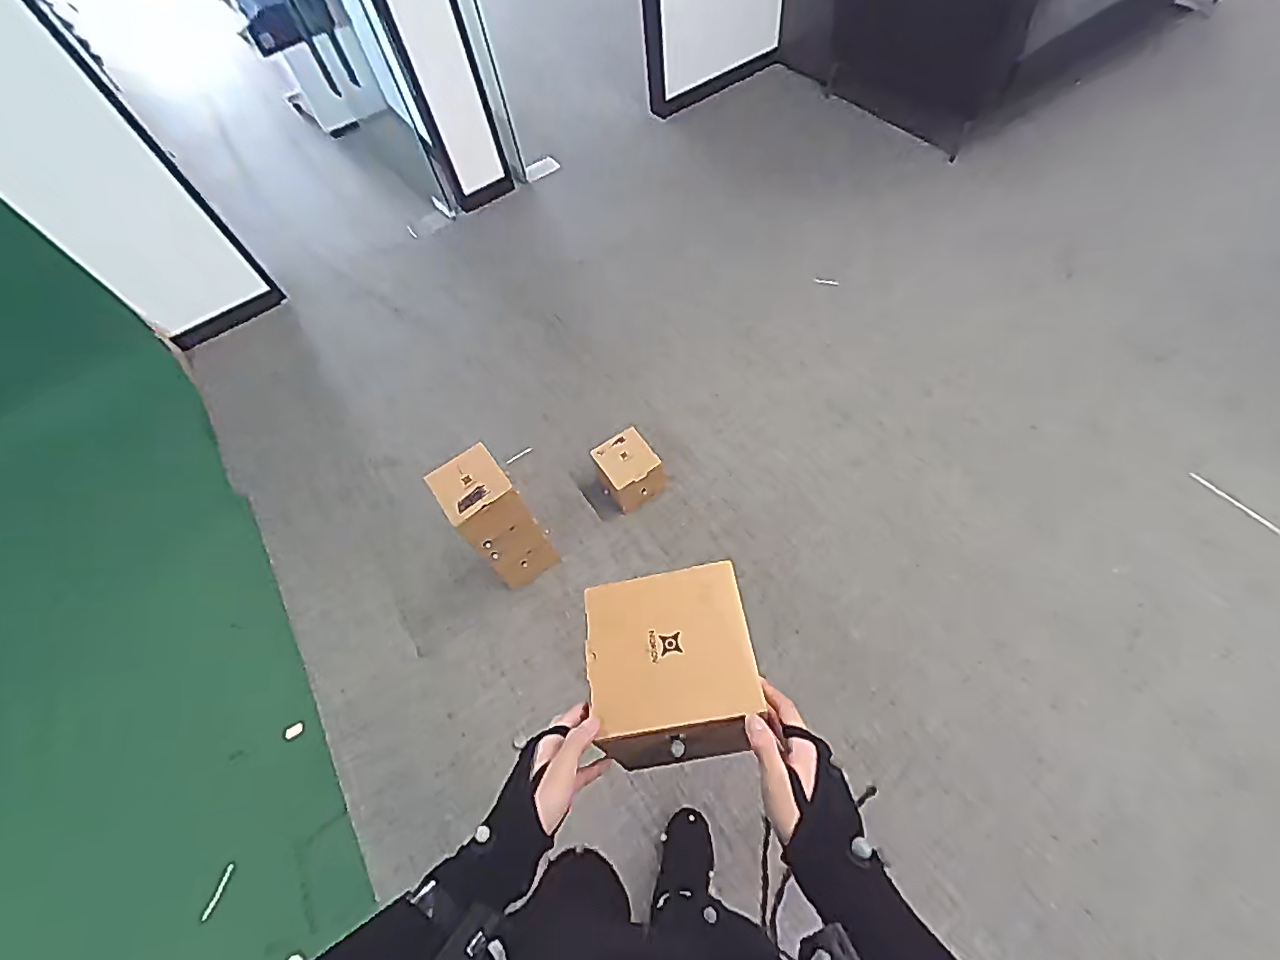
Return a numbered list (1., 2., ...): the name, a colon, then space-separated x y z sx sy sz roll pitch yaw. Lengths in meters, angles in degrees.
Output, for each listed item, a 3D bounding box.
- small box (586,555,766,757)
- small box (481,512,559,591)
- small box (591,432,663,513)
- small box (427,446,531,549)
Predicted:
1. small box: 0.045 0.213 0.639 0.179 0.176 0.168 -13 51 6
2. small box: -0.374 0.211 1.659 0.179 0.176 0.168 -33 62 -13
3. small box: -0.037 -0.015 1.754 0.168 0.176 0.179 -31 62 -12
4. small box: -0.401 0.054 1.372 0.168 0.176 0.179 -34 61 -13
